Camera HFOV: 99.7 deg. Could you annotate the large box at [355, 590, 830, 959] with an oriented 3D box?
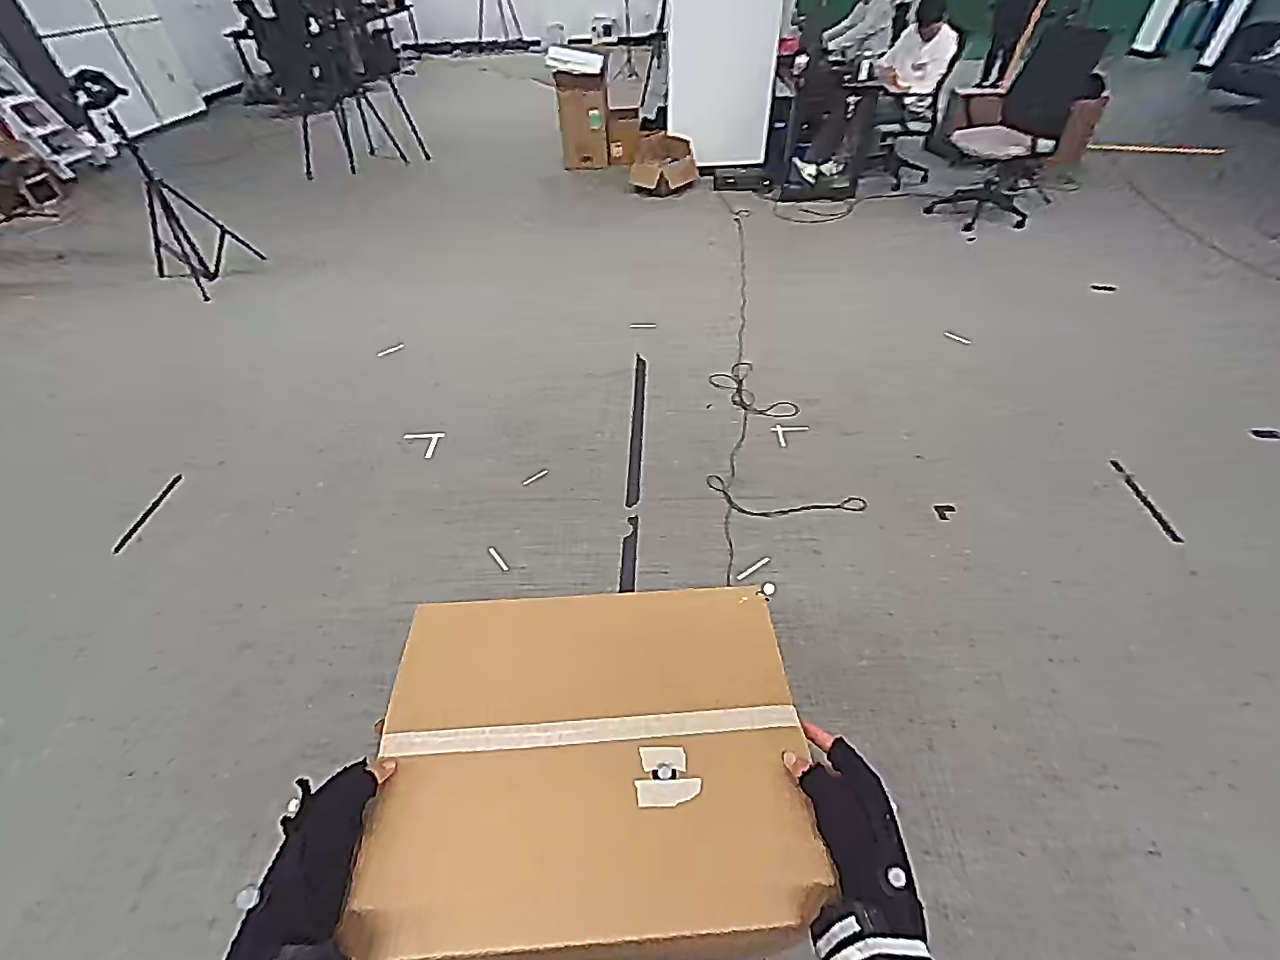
[{"bbox_3d":[-0.048,0.359,0.653,0.408,0.320,0.320,-2,46,-3],"label":"large box"}]
